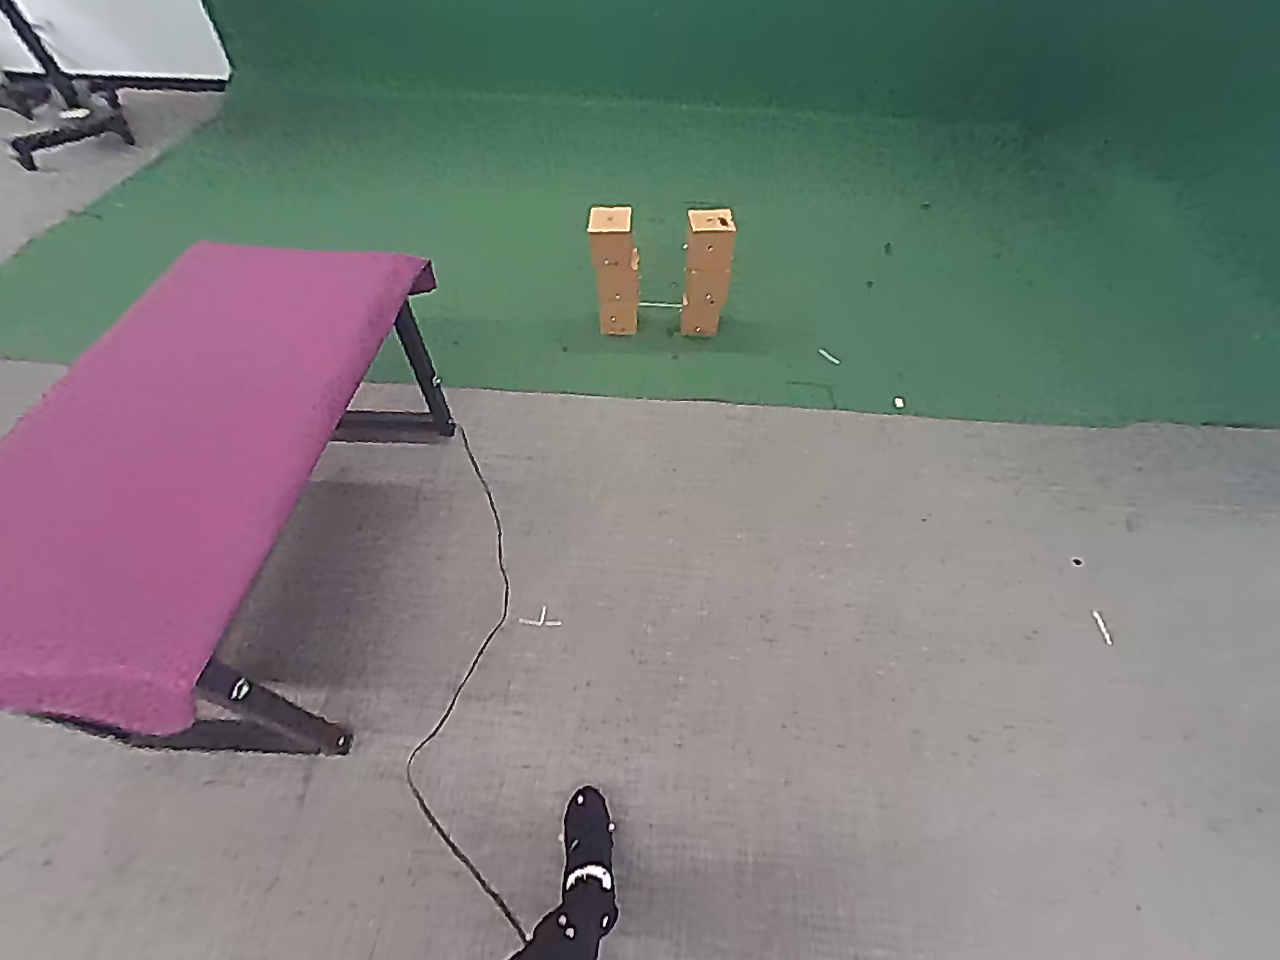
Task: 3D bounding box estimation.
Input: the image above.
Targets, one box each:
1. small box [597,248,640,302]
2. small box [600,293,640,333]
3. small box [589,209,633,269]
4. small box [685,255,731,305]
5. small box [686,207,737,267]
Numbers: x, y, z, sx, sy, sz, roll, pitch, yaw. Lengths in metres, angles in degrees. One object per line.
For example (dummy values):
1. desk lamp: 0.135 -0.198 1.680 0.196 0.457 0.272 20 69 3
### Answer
1. small box: -0.092 -0.890 2.351 0.179 0.176 0.168 0 52 0
2. small box: -0.087 -0.790 2.480 0.168 0.176 0.179 2 52 2
3. small box: -0.115 -0.990 2.222 0.168 0.176 0.179 0 53 3
4. small box: 0.290 -0.883 2.346 0.168 0.176 0.179 -5 54 -3
5. small box: 0.289 -0.997 2.224 0.179 0.176 0.168 -3 53 -2
